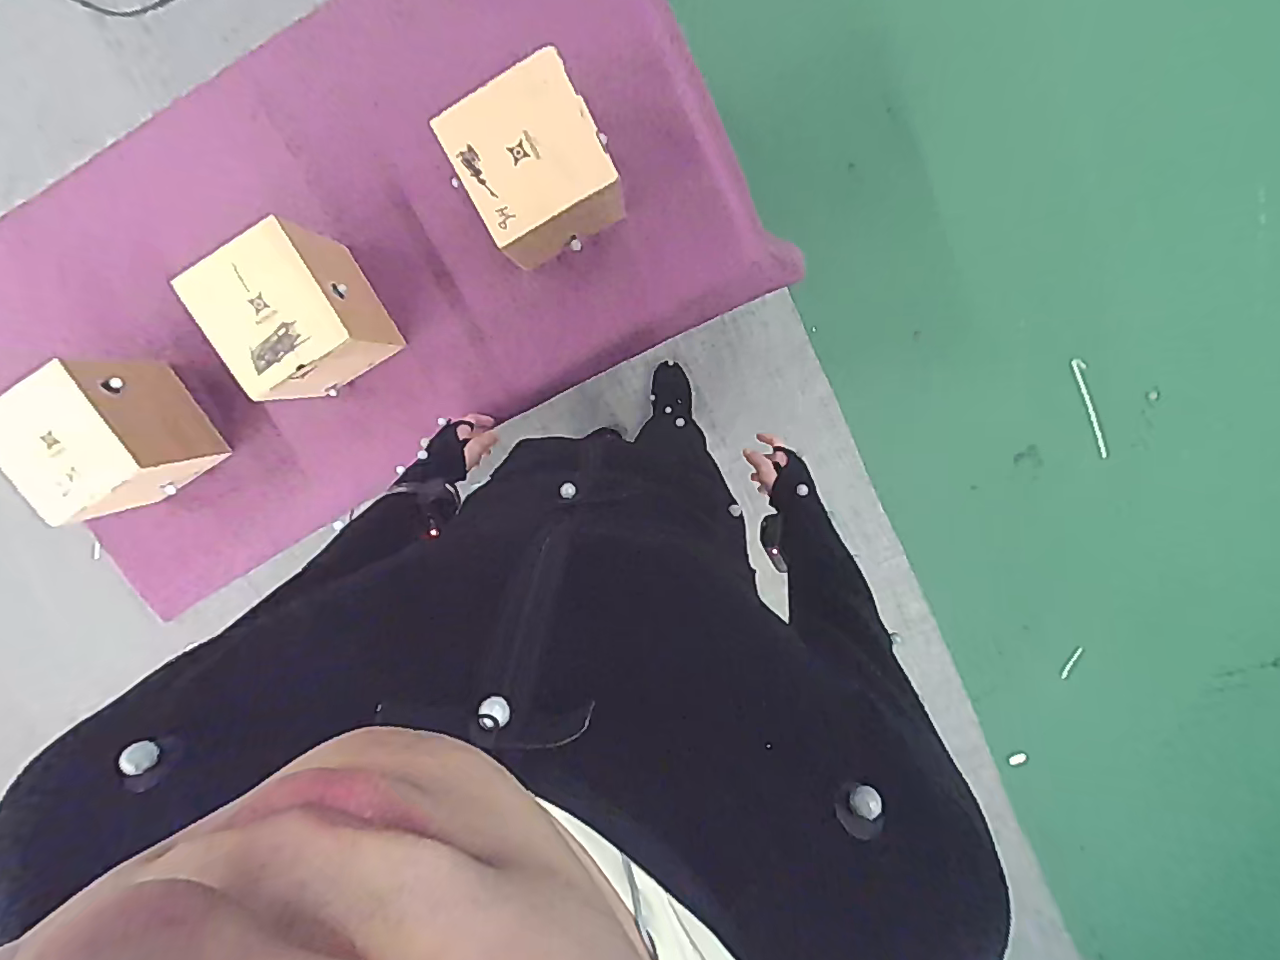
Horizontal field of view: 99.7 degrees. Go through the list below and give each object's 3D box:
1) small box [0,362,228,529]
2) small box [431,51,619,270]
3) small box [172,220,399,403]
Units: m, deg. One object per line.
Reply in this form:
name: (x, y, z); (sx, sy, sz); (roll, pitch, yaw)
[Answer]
small box: (-0.783, -0.056, 0.803); (0.168, 0.176, 0.179); (-30, 99, 6)
small box: (-0.140, -0.411, 0.732); (0.179, 0.176, 0.168); (-27, 99, 5)
small box: (-0.483, -0.228, 0.770); (0.168, 0.176, 0.179); (-29, 99, 5)
